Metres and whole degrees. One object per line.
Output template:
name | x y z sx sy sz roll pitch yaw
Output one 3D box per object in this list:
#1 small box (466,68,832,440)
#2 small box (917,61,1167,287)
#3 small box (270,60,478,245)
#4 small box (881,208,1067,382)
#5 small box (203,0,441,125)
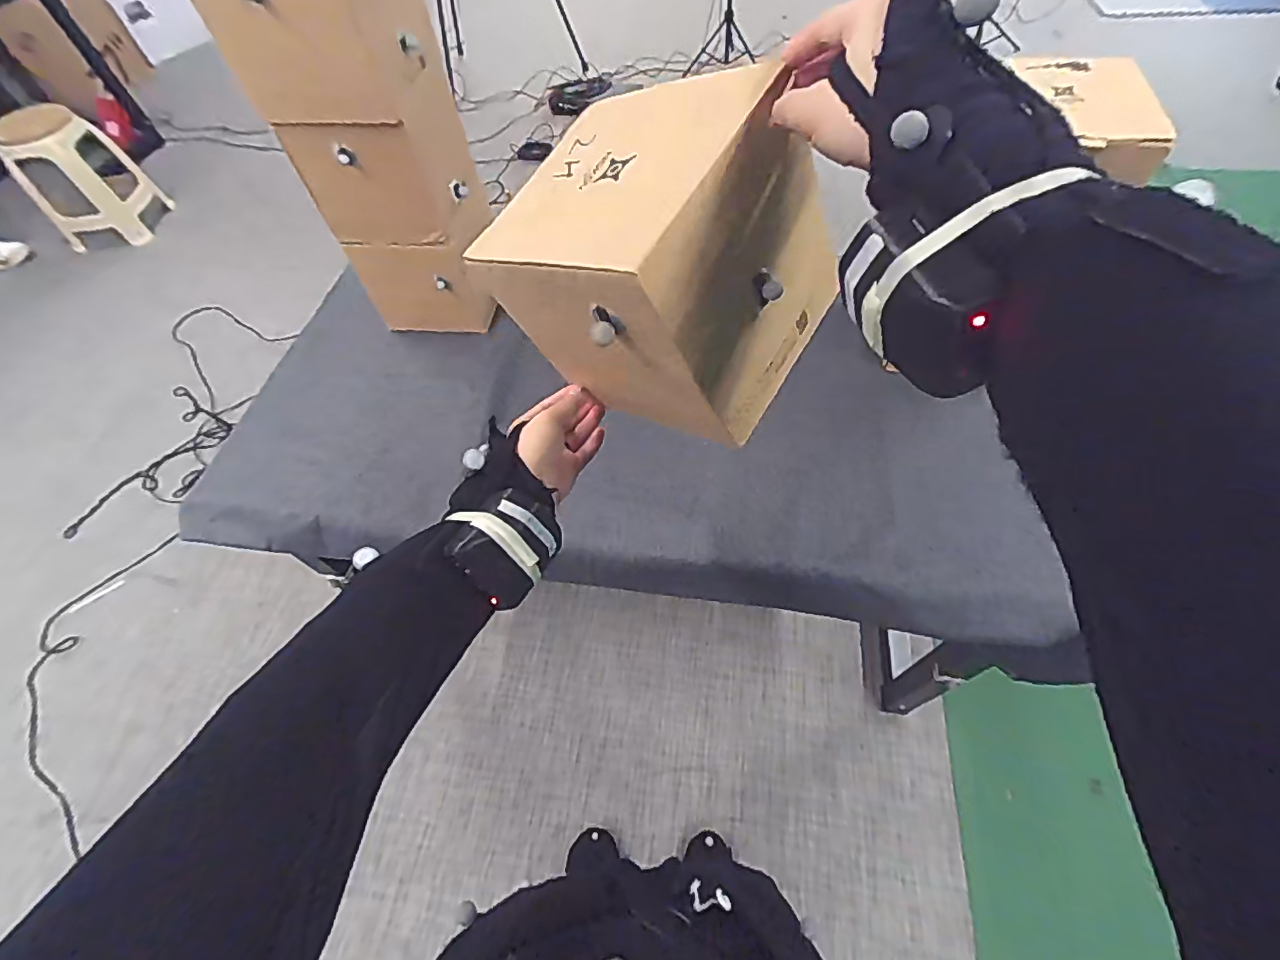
small box | 0.018 -0.151 0.400 0.179 0.176 0.168 24 73 41
small box | 0.438 -0.349 0.627 0.168 0.176 0.179 8 60 9
small box | -0.348 -0.447 0.748 0.179 0.176 0.168 3 60 4
small box | 0.453 -0.266 0.768 0.168 0.176 0.179 8 60 9
small box | -0.355 -0.526 0.603 0.179 0.176 0.168 5 60 6
